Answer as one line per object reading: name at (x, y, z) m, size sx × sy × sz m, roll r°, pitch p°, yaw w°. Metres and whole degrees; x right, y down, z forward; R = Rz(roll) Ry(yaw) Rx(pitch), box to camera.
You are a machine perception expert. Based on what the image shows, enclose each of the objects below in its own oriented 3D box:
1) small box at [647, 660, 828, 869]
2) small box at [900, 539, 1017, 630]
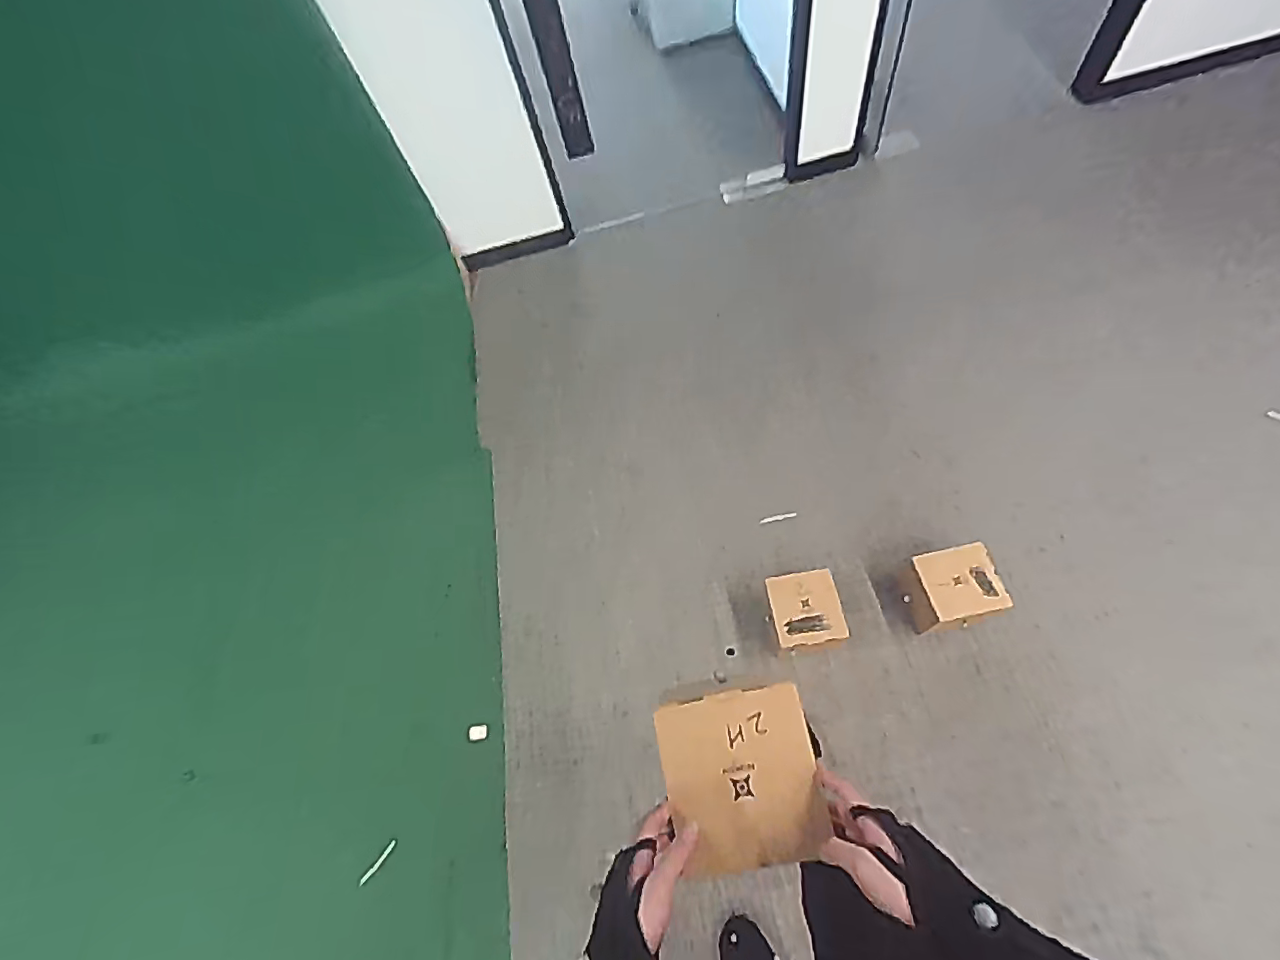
small box at (0.112, 0.328, 0.657) m, size 0.168 × 0.176 × 0.179 m, roll -12°, pitch 75°, yaw 4°
small box at (0.782, 0.265, 1.350) m, size 0.179 × 0.176 × 0.168 m, roll -14°, pitch 62°, yaw 5°
